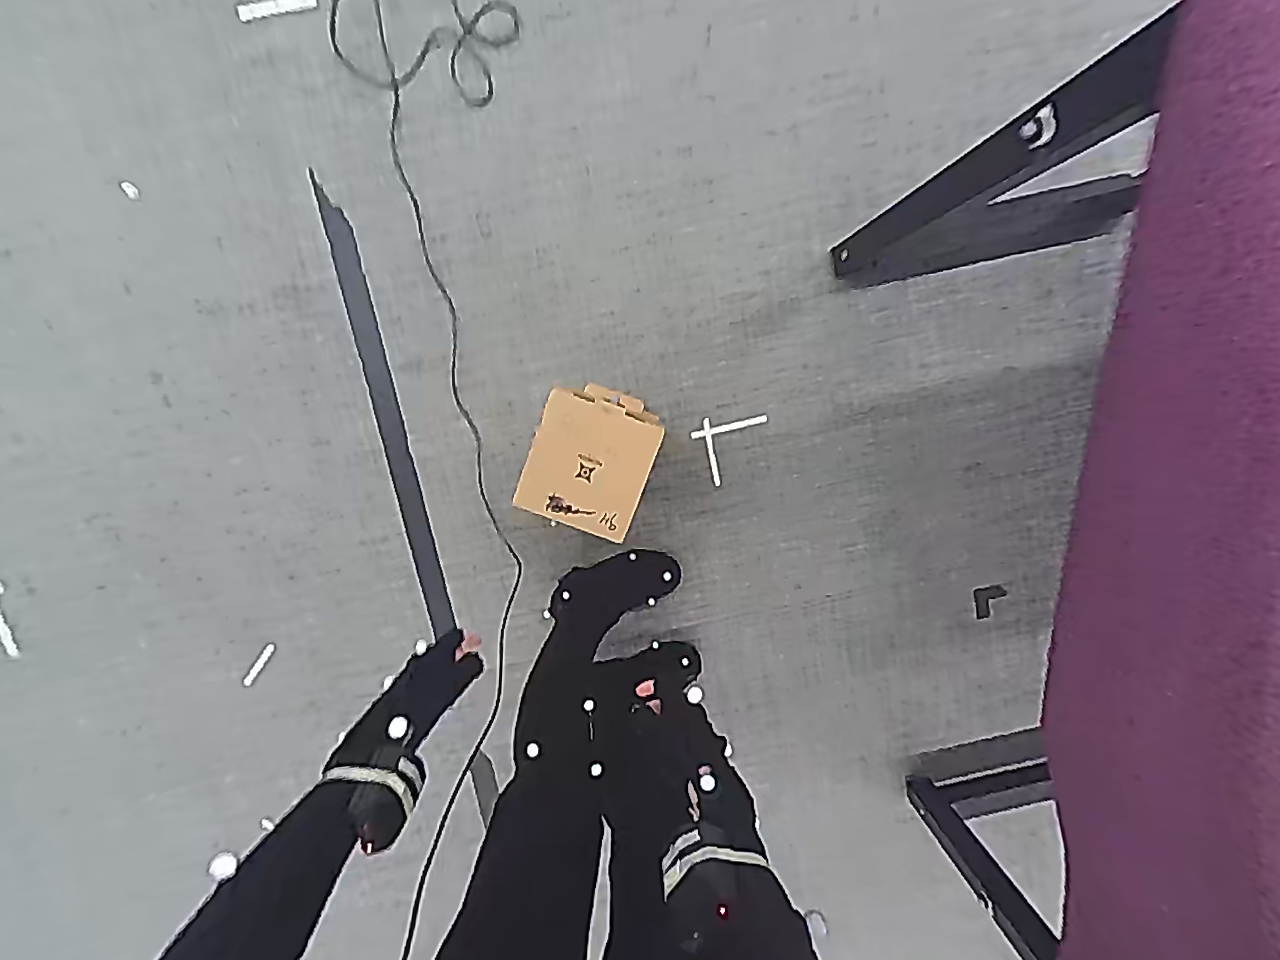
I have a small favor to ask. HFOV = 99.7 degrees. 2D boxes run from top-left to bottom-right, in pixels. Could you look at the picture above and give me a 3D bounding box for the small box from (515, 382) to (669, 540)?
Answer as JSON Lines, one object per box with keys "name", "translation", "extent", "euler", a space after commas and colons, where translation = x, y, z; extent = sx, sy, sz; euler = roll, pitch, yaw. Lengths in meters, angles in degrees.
{"name": "small box", "translation": [-0.070, -0.034, 0.813], "extent": [0.168, 0.176, 0.179], "euler": [21, 97, -4]}
